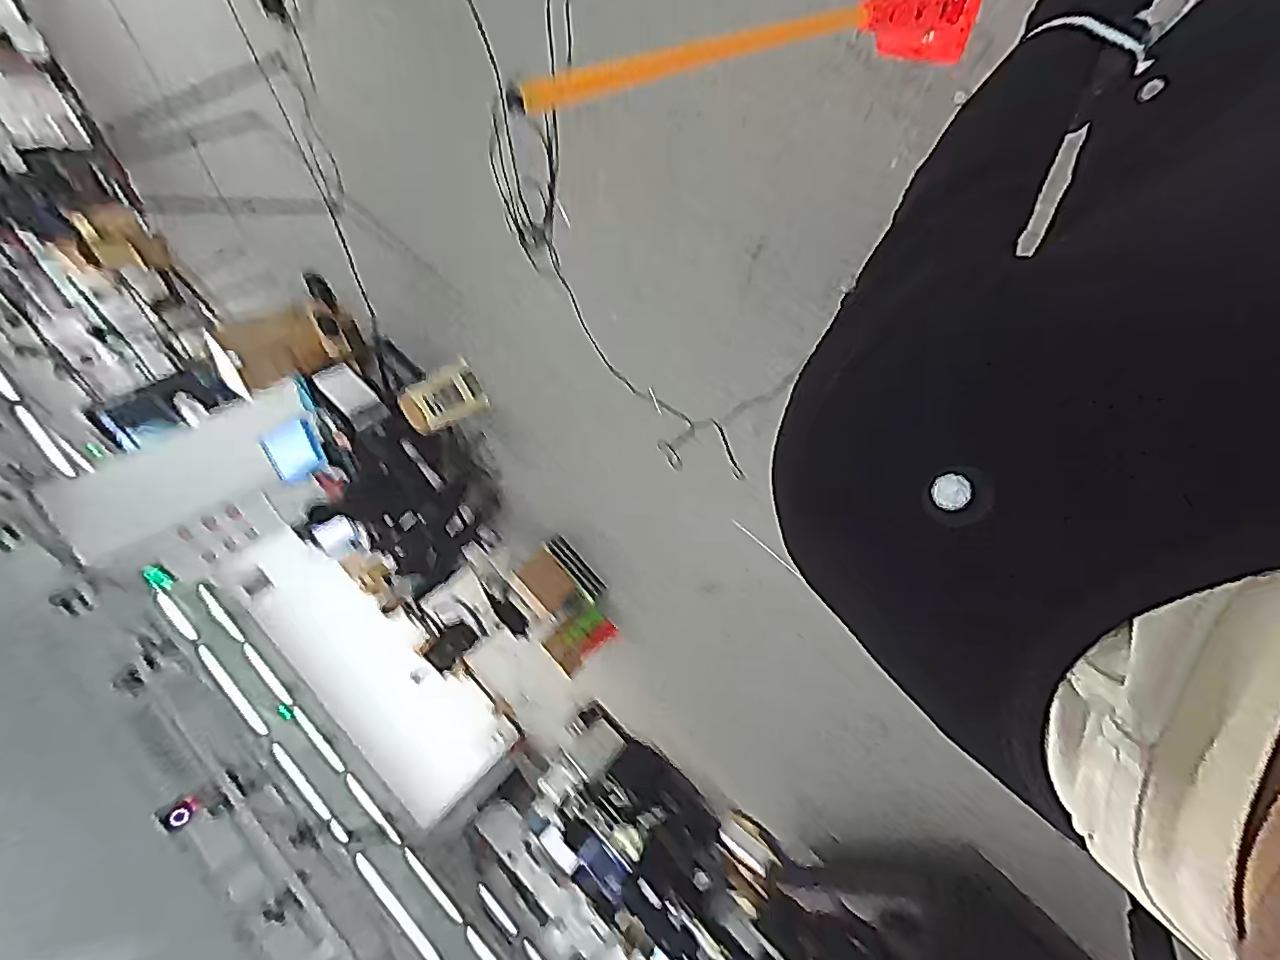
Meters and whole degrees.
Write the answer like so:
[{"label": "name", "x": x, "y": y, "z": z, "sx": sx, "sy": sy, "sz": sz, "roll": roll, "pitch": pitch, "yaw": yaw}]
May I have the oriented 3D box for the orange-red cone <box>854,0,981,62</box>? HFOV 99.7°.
[{"label": "orange-red cone", "x": 0.523, "y": -0.949, "z": 1.080, "sx": 0.199, "sy": 0.360, "sz": 0.198, "roll": 35, "pitch": 144, "yaw": 26}]
